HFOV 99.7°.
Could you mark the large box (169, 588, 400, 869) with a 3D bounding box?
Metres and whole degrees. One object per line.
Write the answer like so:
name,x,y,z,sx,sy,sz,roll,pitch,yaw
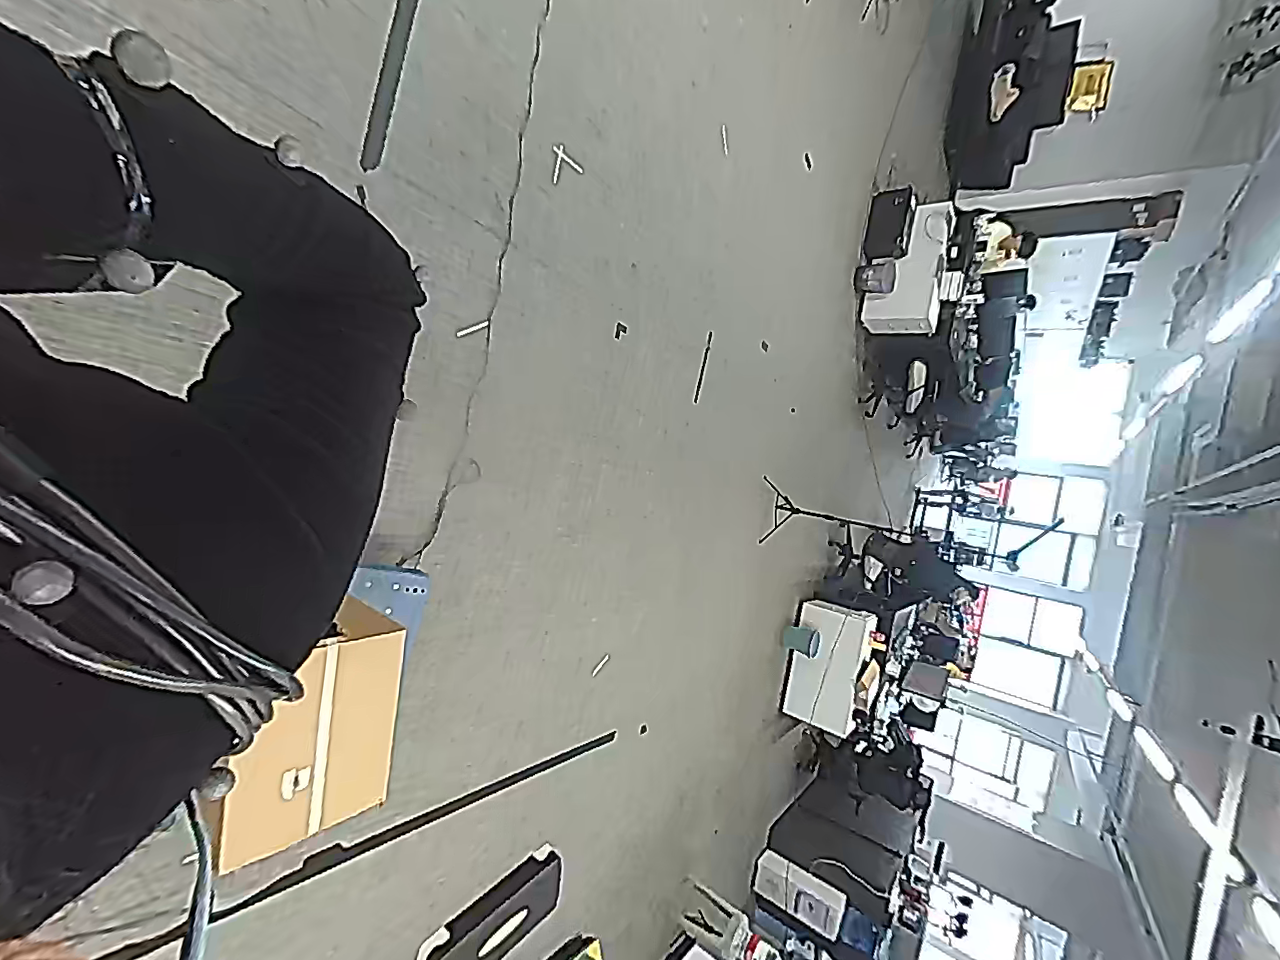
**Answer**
large box,-0.759,0.484,1.158,0.320,0.320,0.408,4,97,-53
